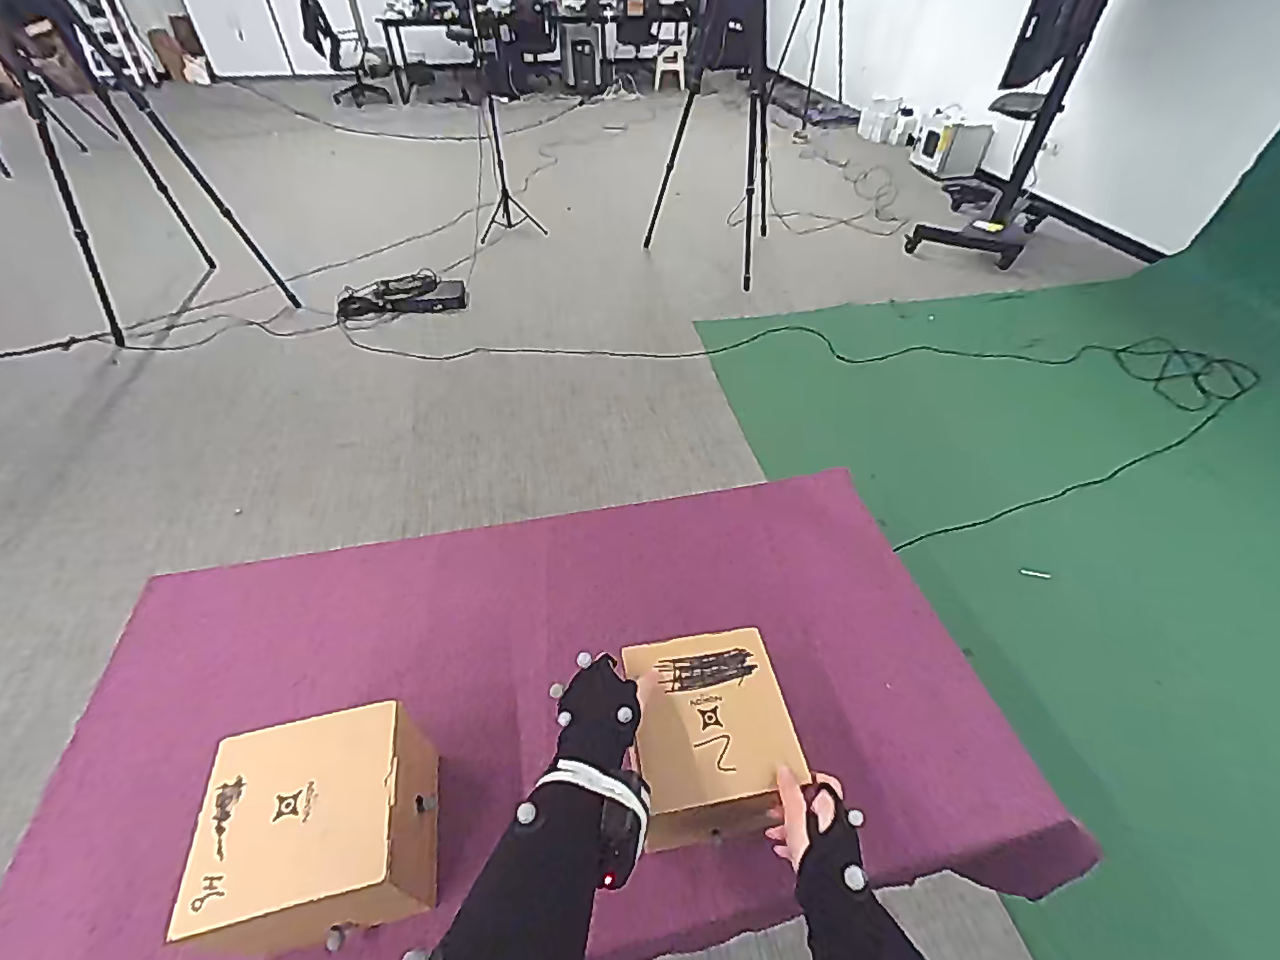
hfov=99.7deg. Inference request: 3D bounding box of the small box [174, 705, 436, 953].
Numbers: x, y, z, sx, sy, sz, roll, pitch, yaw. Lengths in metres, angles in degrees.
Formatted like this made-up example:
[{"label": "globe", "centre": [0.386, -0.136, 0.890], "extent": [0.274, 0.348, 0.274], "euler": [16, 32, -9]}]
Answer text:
[{"label": "small box", "centre": [-0.321, 0.366, 0.570], "extent": [0.179, 0.176, 0.168], "euler": [-9, 46, -11]}]
